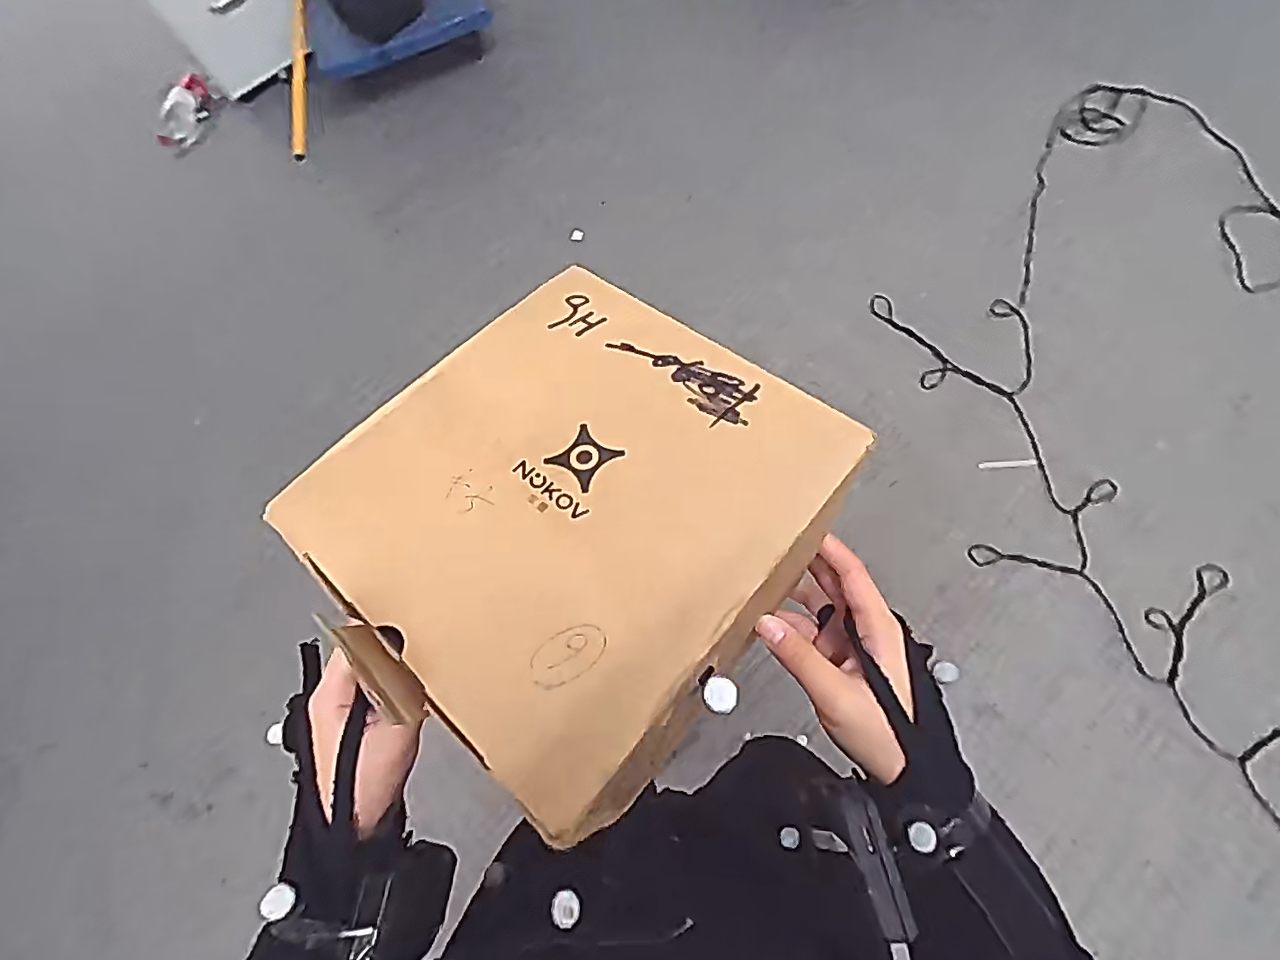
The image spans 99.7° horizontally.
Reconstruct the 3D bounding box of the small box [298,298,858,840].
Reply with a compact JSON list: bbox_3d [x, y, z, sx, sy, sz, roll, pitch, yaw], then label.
[{"bbox_3d":[-0.020,0.048,0.288,0.168,0.176,0.179,36,69,22],"label":"small box"}]
